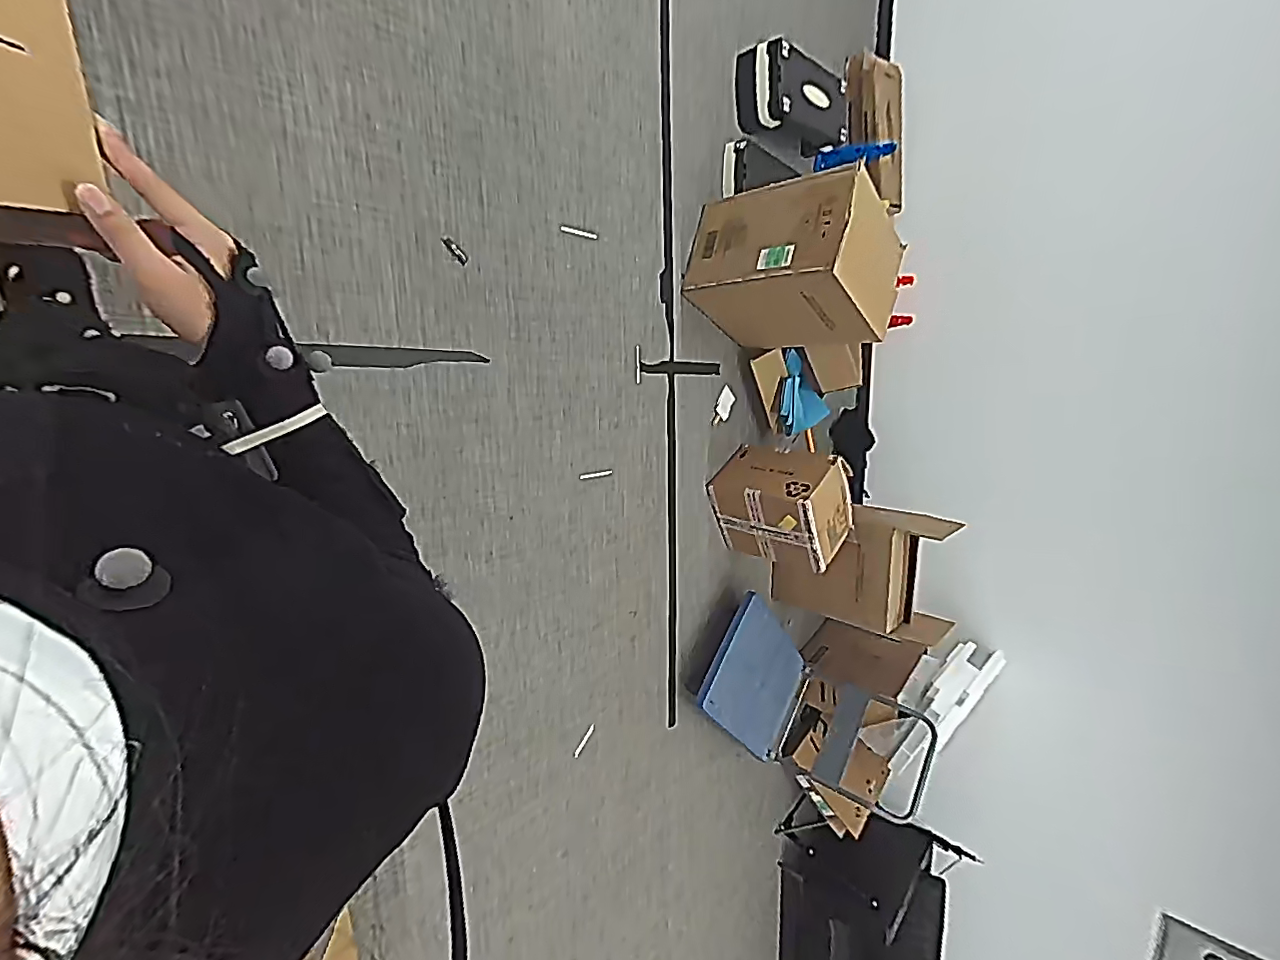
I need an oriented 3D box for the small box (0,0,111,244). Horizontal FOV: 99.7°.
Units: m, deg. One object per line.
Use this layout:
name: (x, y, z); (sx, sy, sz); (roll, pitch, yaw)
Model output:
small box: (-0.431, -0.235, 0.299); (0.179, 0.176, 0.168); (-14, 111, -45)
